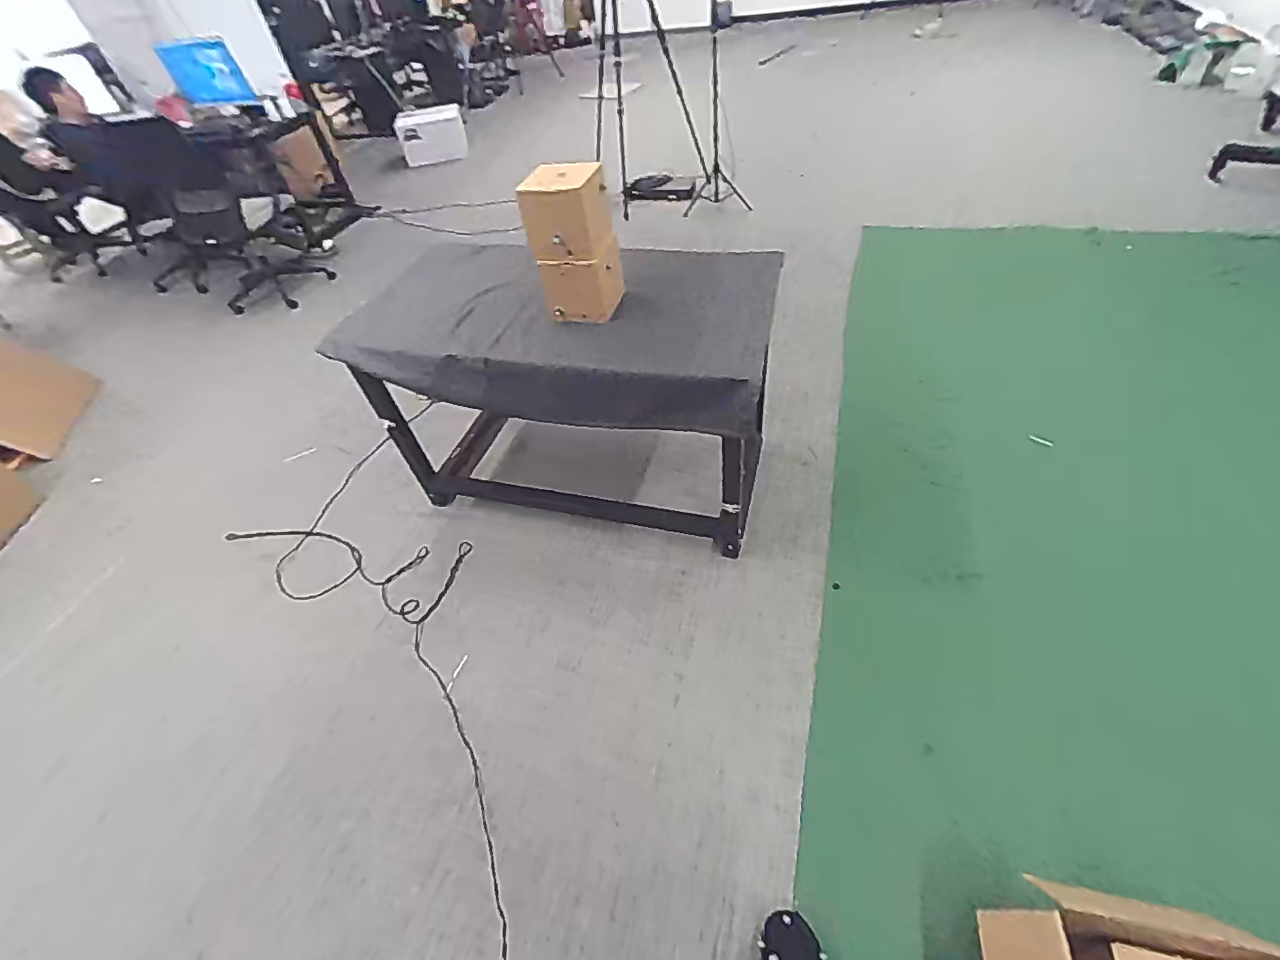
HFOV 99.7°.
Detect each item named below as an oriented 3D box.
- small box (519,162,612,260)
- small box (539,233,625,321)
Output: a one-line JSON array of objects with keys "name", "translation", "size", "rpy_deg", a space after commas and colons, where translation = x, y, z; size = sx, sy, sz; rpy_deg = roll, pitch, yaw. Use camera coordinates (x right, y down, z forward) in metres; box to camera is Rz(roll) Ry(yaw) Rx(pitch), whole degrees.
[{"name": "small box", "translation": [-0.174, -0.664, 1.340], "size": [0.168, 0.176, 0.179], "rpy_deg": [6, 49, 15]}, {"name": "small box", "translation": [-0.146, -0.541, 1.447], "size": [0.168, 0.176, 0.179], "rpy_deg": [8, 48, 16]}]
